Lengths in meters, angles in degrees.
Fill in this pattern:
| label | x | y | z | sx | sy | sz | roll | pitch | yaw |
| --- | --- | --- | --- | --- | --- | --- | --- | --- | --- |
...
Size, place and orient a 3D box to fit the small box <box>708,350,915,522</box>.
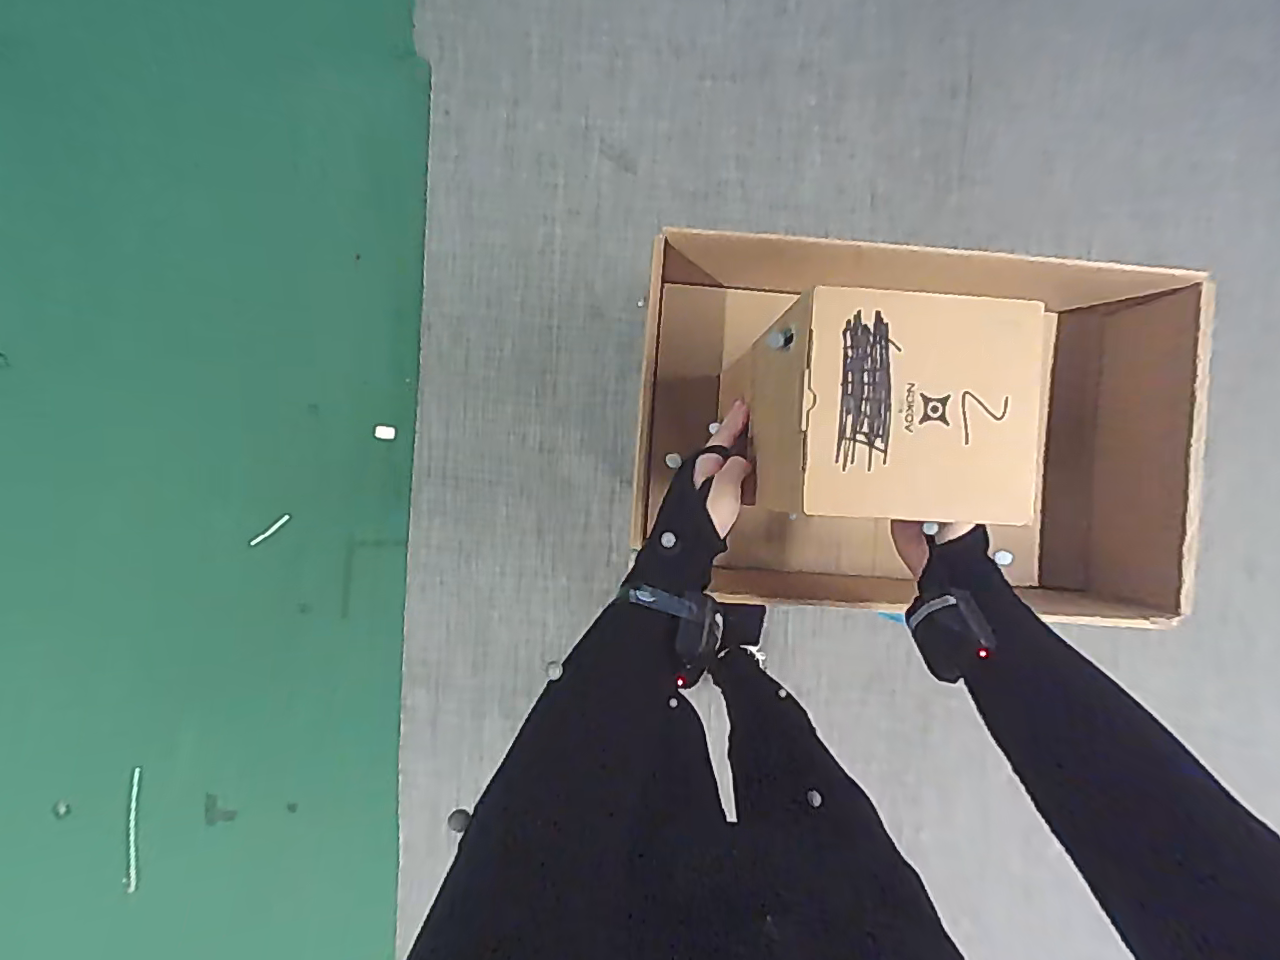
| label | x | y | z | sx | sy | sz | roll | pitch | yaw |
| --- | --- | --- | --- | --- | --- | --- | --- | --- | --- |
| small box | 0.186 | -0.045 | 0.632 | 0.179 | 0.176 | 0.168 | 4 | 89 | -3 |
